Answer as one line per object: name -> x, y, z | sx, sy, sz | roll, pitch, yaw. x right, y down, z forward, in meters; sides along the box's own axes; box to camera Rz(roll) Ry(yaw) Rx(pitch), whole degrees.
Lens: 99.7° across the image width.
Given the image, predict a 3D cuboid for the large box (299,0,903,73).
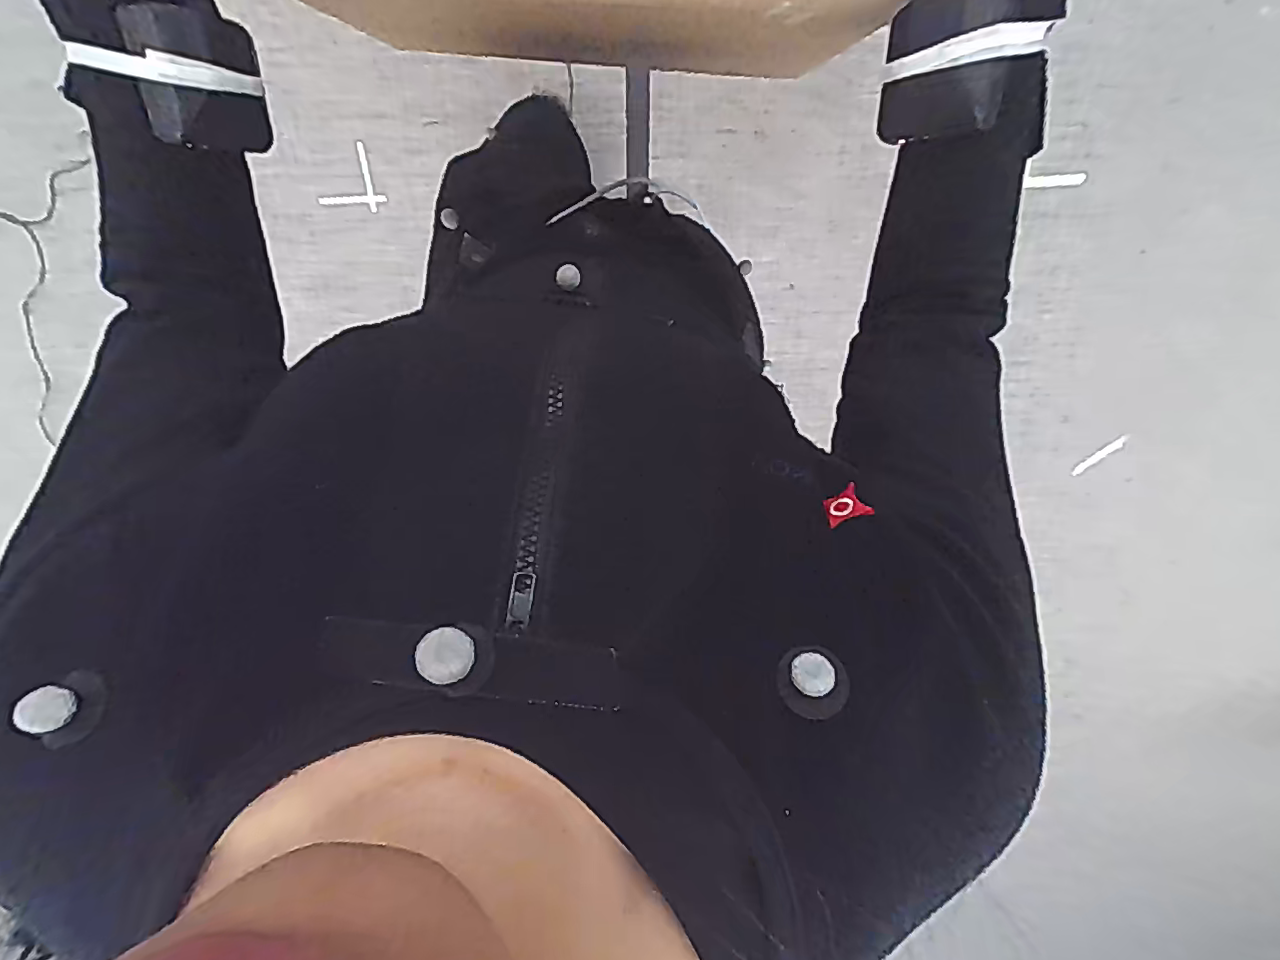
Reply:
large box -> -0.033, -0.472, 0.335 | 0.408, 0.320, 0.320 | 2, 121, -2
